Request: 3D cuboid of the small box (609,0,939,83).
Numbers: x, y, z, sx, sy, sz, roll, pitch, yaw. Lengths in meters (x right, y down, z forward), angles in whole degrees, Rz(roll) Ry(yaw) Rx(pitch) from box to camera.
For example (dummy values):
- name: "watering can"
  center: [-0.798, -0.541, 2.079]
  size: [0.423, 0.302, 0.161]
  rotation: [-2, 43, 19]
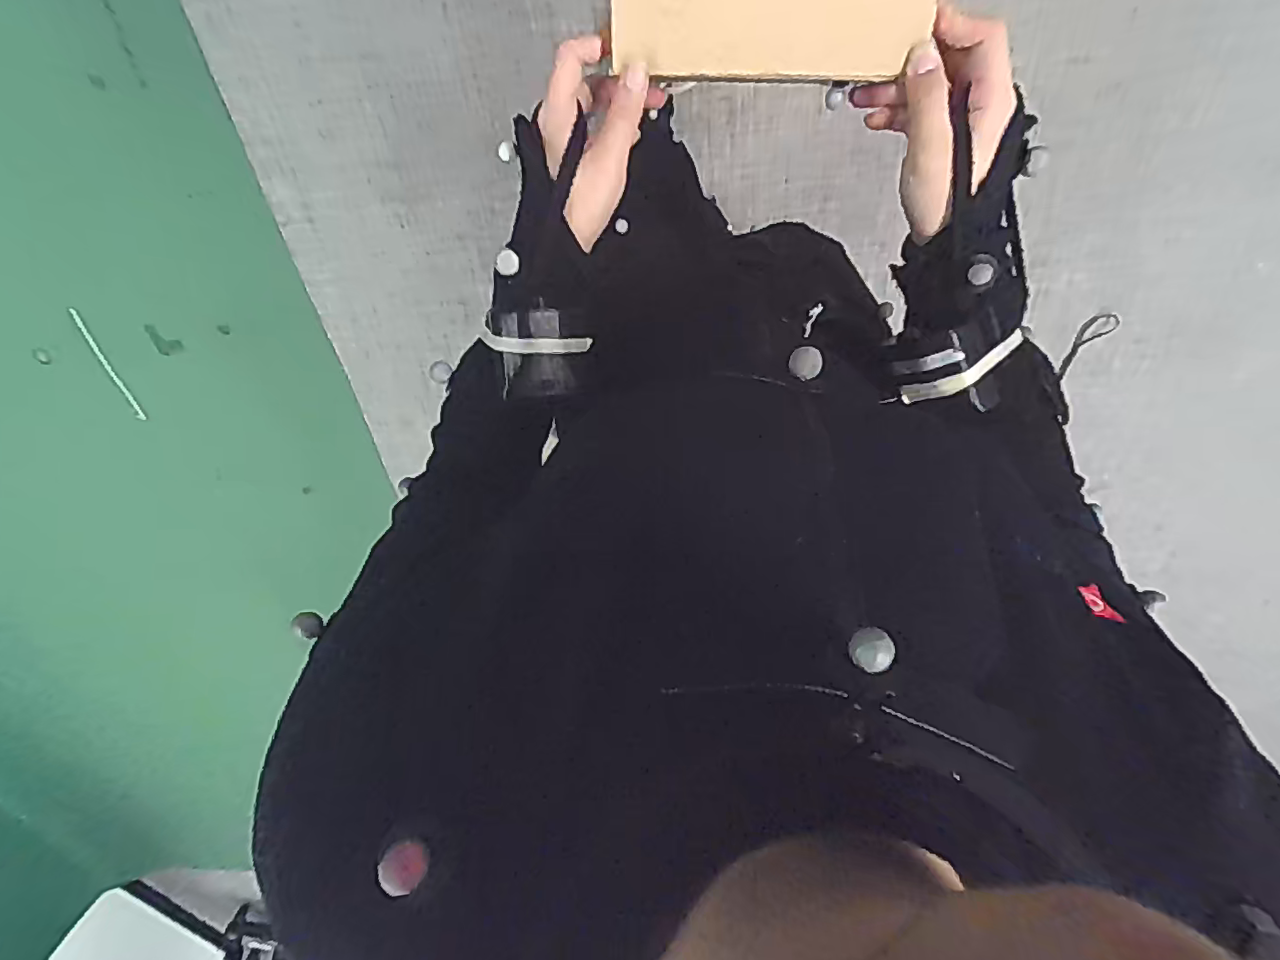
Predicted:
- name: "small box"
  center: [0.078, -0.344, 0.323]
  size: [0.179, 0.176, 0.168]
  rotation: [3, 125, 3]
